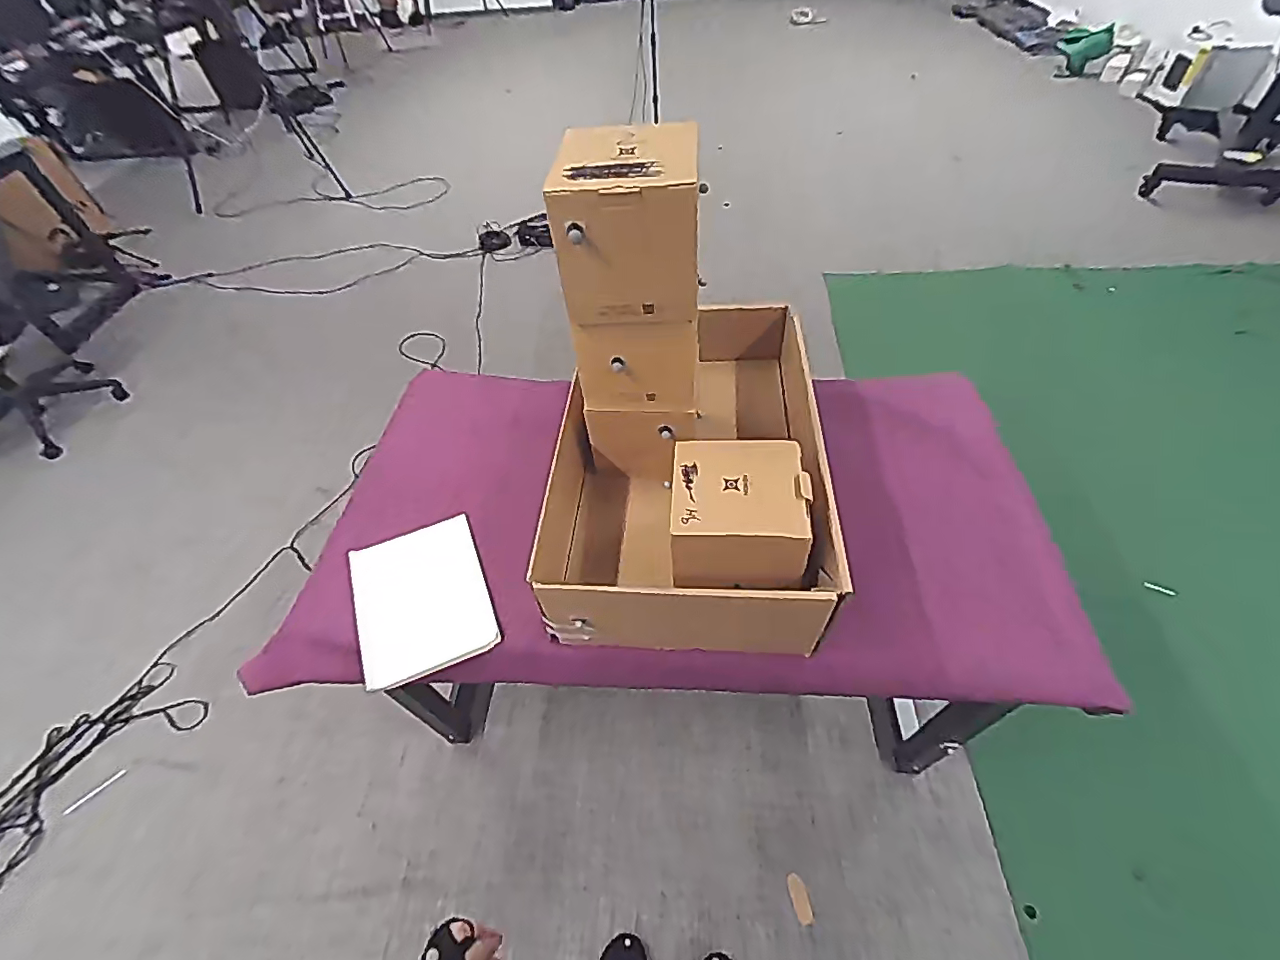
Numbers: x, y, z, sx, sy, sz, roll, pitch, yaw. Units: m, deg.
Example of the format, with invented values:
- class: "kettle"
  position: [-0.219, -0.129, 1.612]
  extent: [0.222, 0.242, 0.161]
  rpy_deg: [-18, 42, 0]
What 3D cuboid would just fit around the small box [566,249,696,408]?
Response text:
- class: "small box"
  position: [-0.003, -0.223, 0.815]
  extent: [0.168, 0.176, 0.179]
  rpy_deg: [2, 52, 7]
